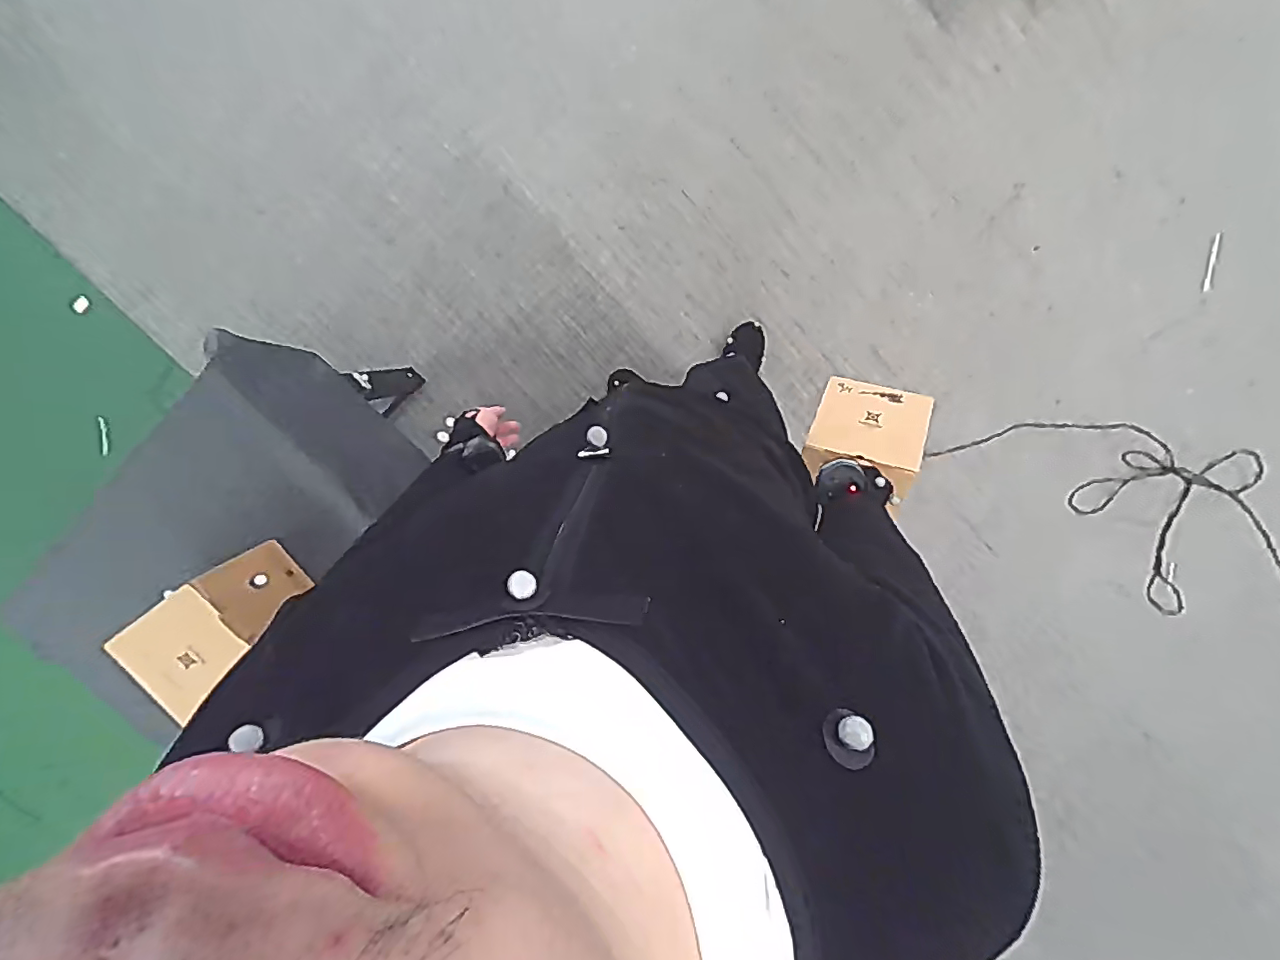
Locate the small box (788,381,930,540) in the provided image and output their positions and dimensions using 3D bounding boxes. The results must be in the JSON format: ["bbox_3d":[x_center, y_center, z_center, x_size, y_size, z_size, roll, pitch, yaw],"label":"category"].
[{"bbox_3d":[0.354,-0.029,0.897,0.168,0.179,0.176,20,144,19],"label":"small box"}]

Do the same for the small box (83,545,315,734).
[{"bbox_3d":[-0.624,0.222,0.797,0.179,0.176,0.168,-33,99,9],"label":"small box"}]
